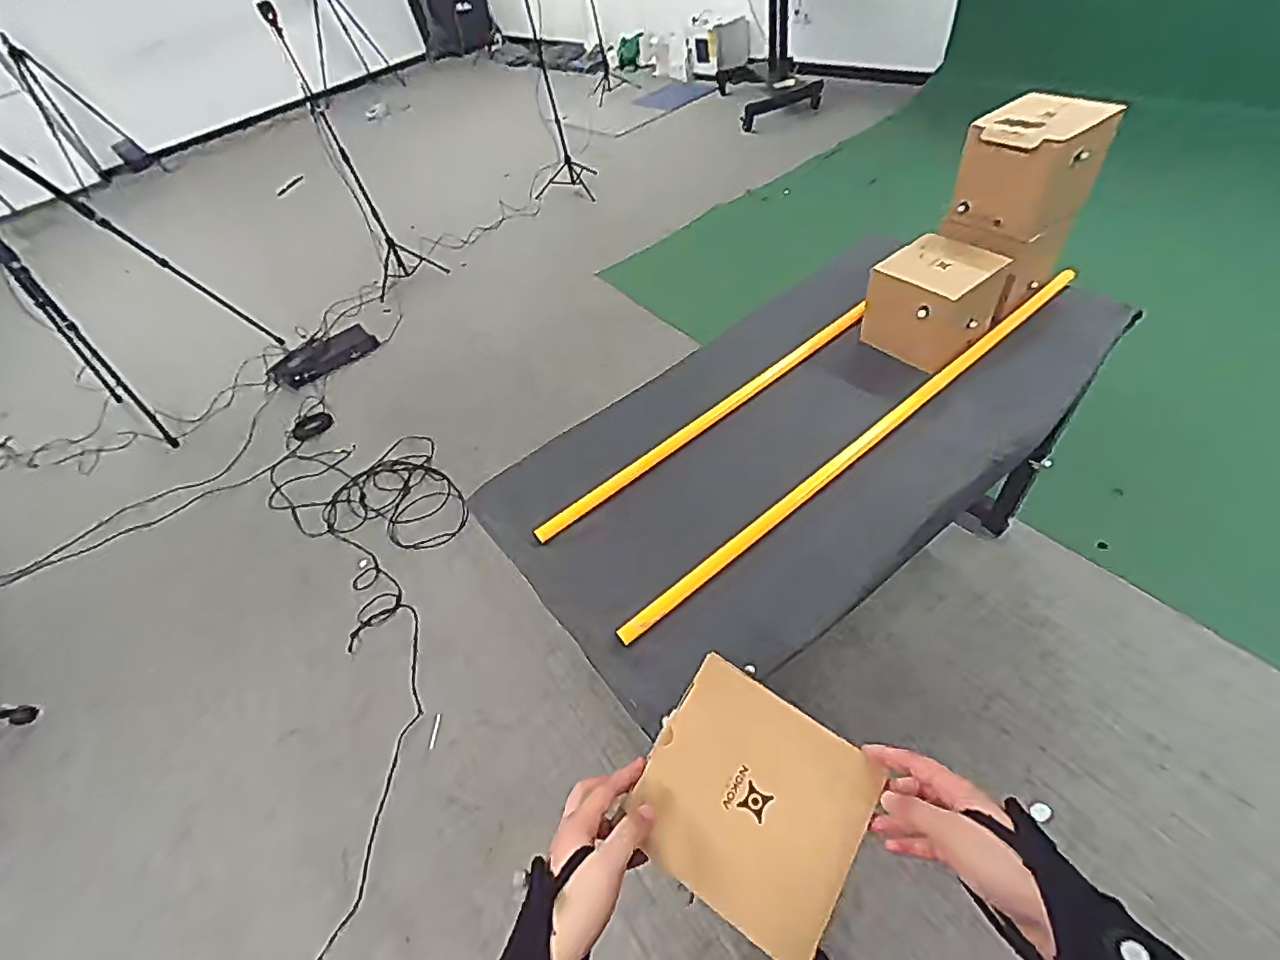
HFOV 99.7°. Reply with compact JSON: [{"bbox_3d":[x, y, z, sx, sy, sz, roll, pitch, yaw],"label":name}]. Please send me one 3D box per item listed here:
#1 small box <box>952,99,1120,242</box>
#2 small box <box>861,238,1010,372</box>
[{"bbox_3d":[0.712,-0.569,0.999,0.179,0.176,0.168,-32,51,-15],"label":"small box"},{"bbox_3d":[0.563,-0.336,1.054,0.168,0.176,0.179,-33,51,-16],"label":"small box"}]
